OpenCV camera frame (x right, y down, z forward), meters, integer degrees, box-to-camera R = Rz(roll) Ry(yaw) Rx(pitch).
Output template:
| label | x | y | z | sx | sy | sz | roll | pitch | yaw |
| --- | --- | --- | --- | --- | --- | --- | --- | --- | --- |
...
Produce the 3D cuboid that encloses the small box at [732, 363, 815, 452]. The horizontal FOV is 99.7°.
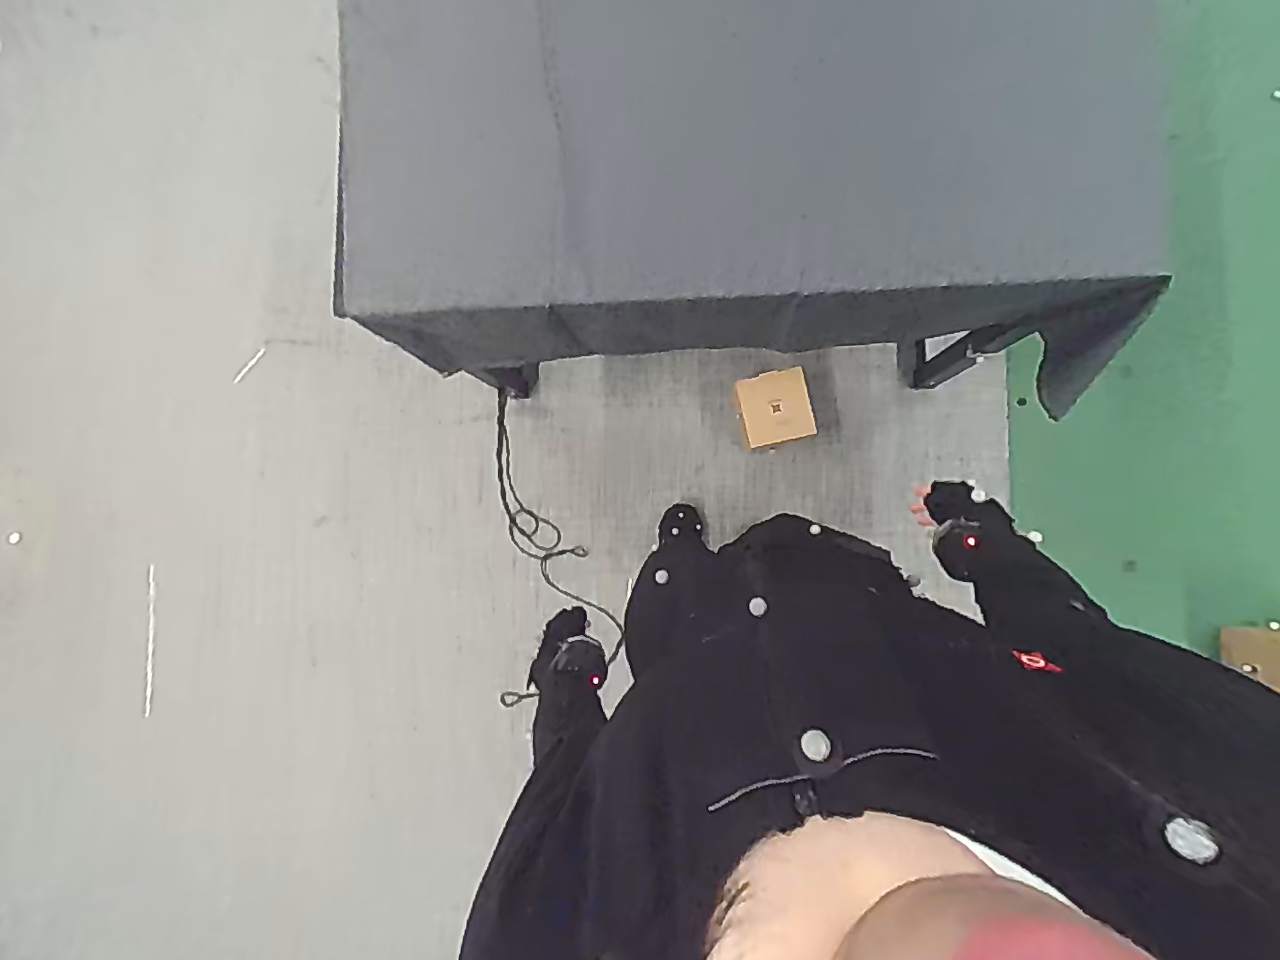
| label | x | y | z | sx | sy | sz | roll | pitch | yaw |
| --- | --- | --- | --- | --- | --- | --- | --- | --- | --- |
| small box | 0.338 | -0.181 | 1.405 | 0.168 | 0.176 | 0.179 | -13 | 85 | 7 |
